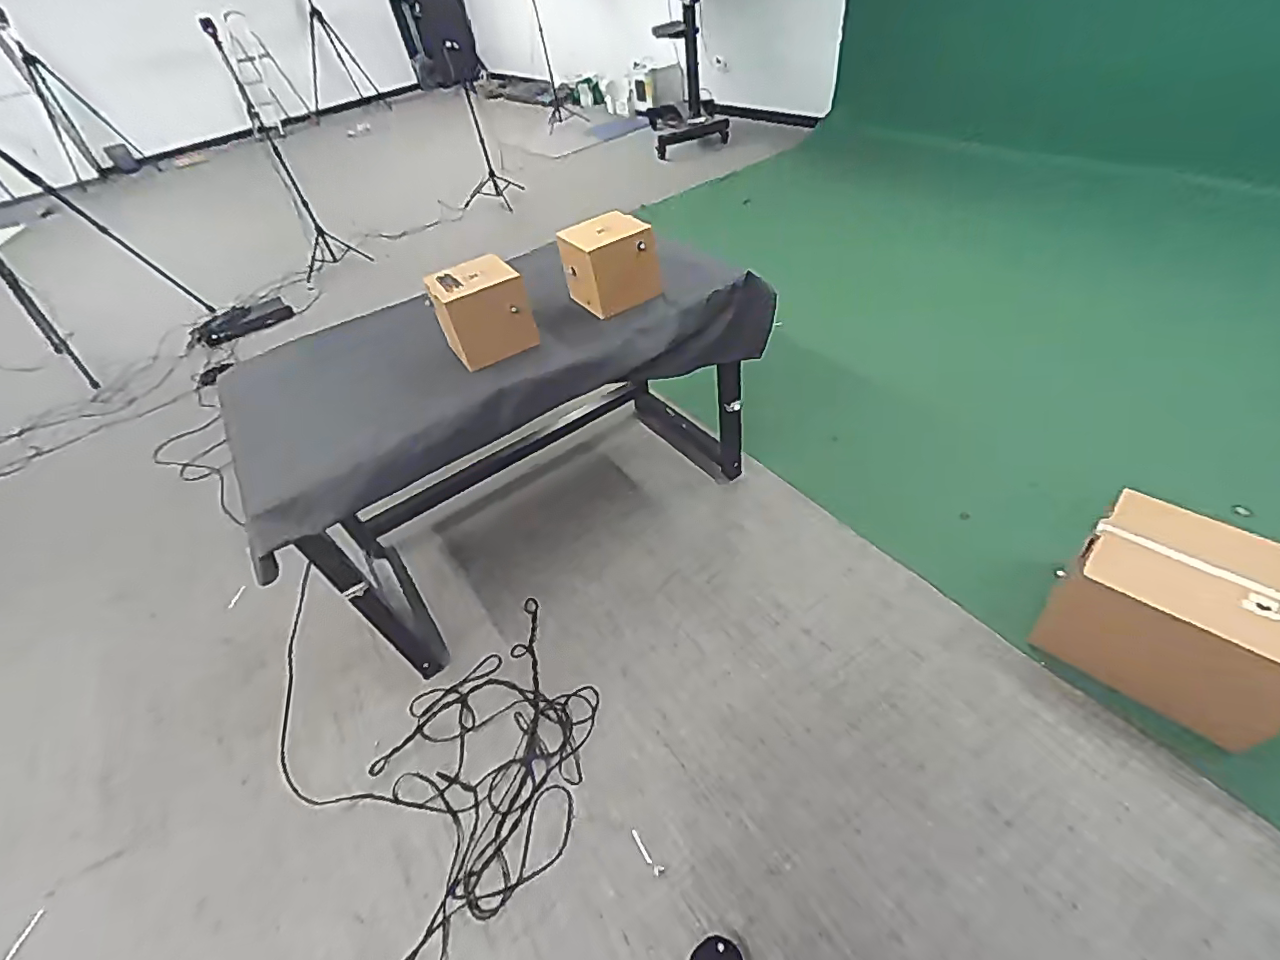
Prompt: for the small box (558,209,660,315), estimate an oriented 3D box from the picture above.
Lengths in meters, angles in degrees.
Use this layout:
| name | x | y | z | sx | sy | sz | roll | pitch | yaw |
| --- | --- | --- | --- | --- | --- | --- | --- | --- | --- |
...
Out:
| name | x | y | z | sx | sy | sz | roll | pitch | yaw |
| --- | --- | --- | --- | --- | --- | --- | --- | --- | --- |
| small box | -0.069 | -0.522 | 1.301 | 0.179 | 0.176 | 0.168 | -29 | 48 | -17 |
